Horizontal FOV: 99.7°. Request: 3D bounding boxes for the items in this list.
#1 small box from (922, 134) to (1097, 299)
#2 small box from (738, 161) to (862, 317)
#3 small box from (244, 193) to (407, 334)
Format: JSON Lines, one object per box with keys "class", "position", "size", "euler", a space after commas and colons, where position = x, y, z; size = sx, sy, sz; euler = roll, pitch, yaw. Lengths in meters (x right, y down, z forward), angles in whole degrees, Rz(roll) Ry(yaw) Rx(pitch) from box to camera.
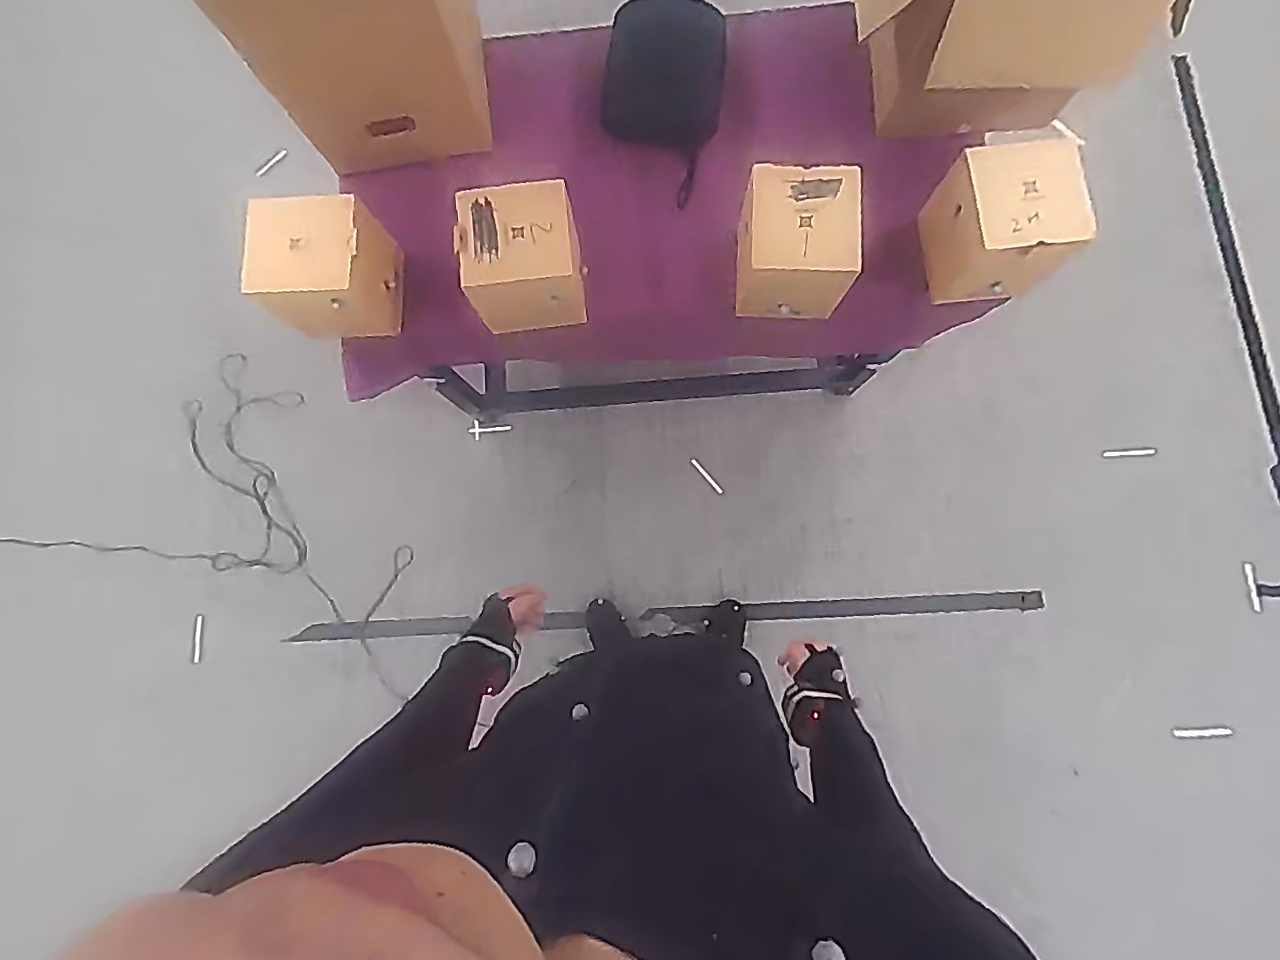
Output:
{"class": "small box", "position": [0.588, -0.423, 0.887], "size": [0.168, 0.176, 0.179], "euler": [-5, 81, 3]}
{"class": "small box", "position": [0.257, -0.393, 0.899], "size": [0.168, 0.176, 0.179], "euler": [2, 83, 3]}
{"class": "small box", "position": [-0.527, -0.360, 0.927], "size": [0.179, 0.176, 0.168], "euler": [-2, 81, 1]}
